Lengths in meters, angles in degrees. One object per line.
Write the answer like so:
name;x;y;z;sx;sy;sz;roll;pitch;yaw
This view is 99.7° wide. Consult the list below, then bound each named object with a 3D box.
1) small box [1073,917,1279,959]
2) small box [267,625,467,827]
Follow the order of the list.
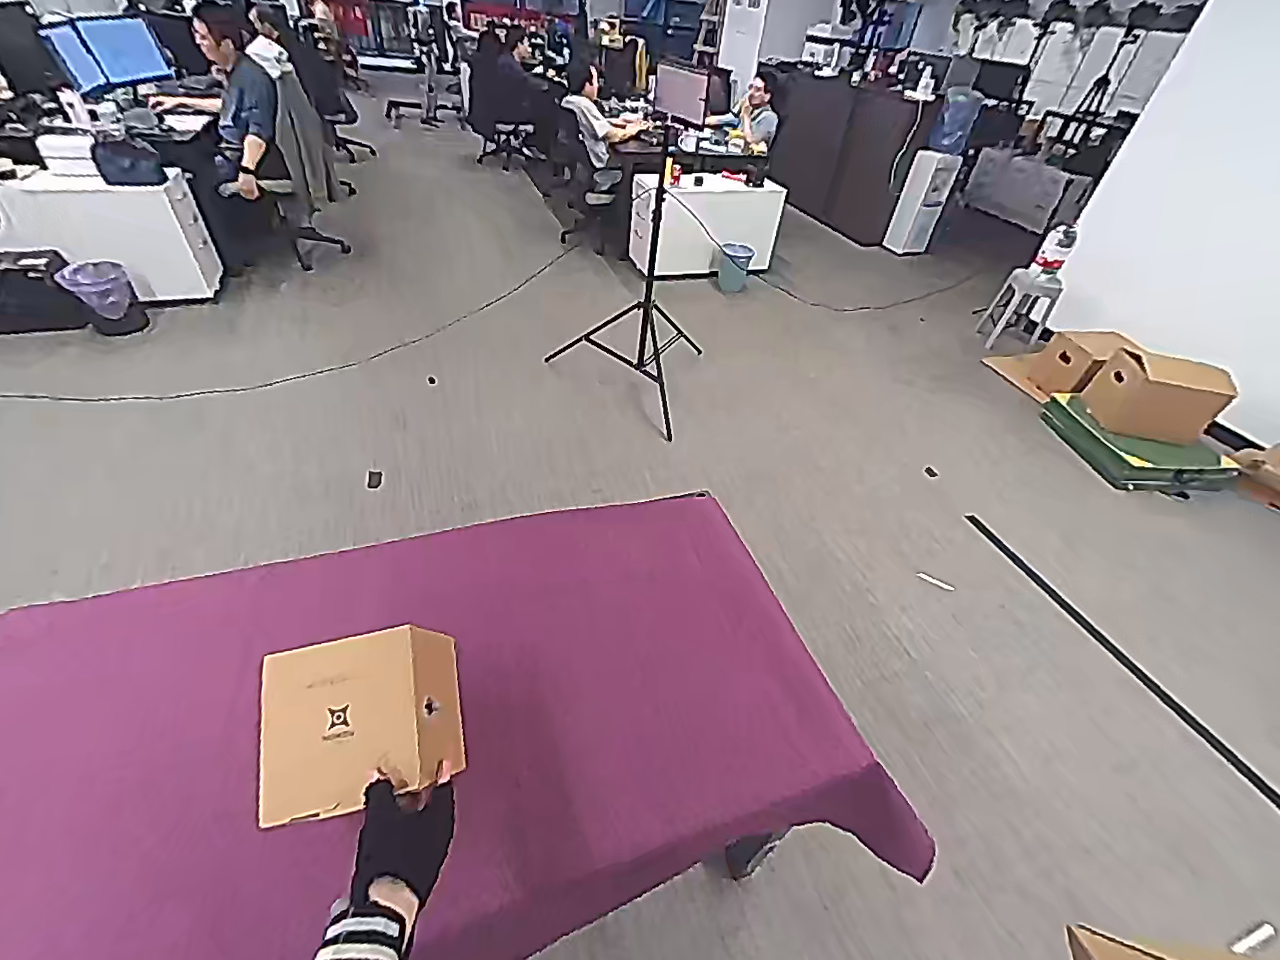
small box;0.306;0.306;0.219;0.168;0.179;0.176;-10;61;27
small box;-0.324;0.292;0.668;0.168;0.176;0.179;-13;69;-6
